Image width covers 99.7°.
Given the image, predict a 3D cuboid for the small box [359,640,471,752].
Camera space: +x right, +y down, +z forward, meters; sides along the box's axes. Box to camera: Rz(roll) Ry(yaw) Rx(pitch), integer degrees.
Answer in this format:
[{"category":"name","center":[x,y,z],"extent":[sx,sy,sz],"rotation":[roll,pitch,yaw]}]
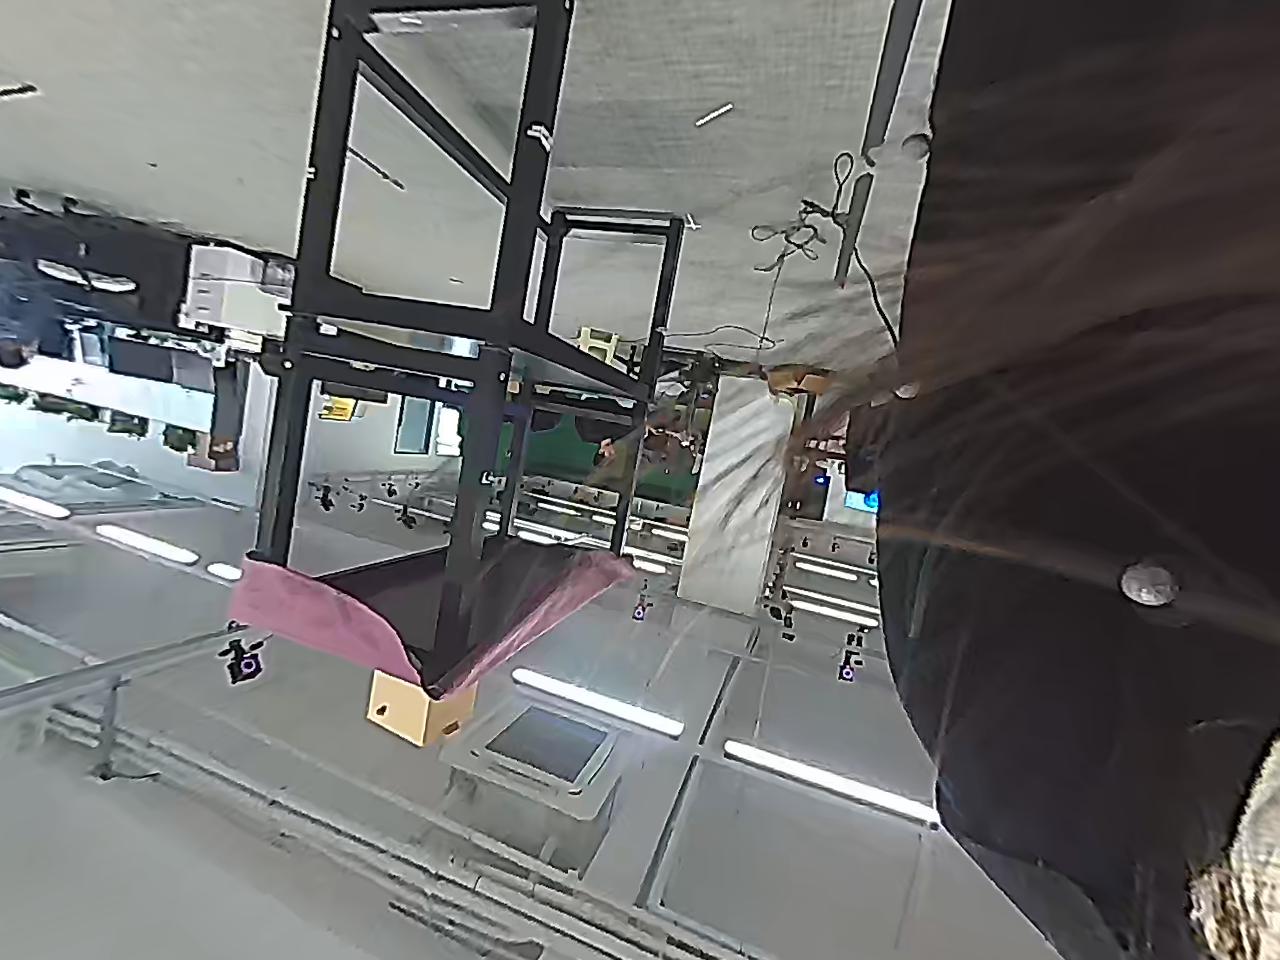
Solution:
[{"category":"small box","center":[-0.525,0.498,1.280],"extent":[0.179,0.176,0.168],"rotation":[13,-174,22]}]
